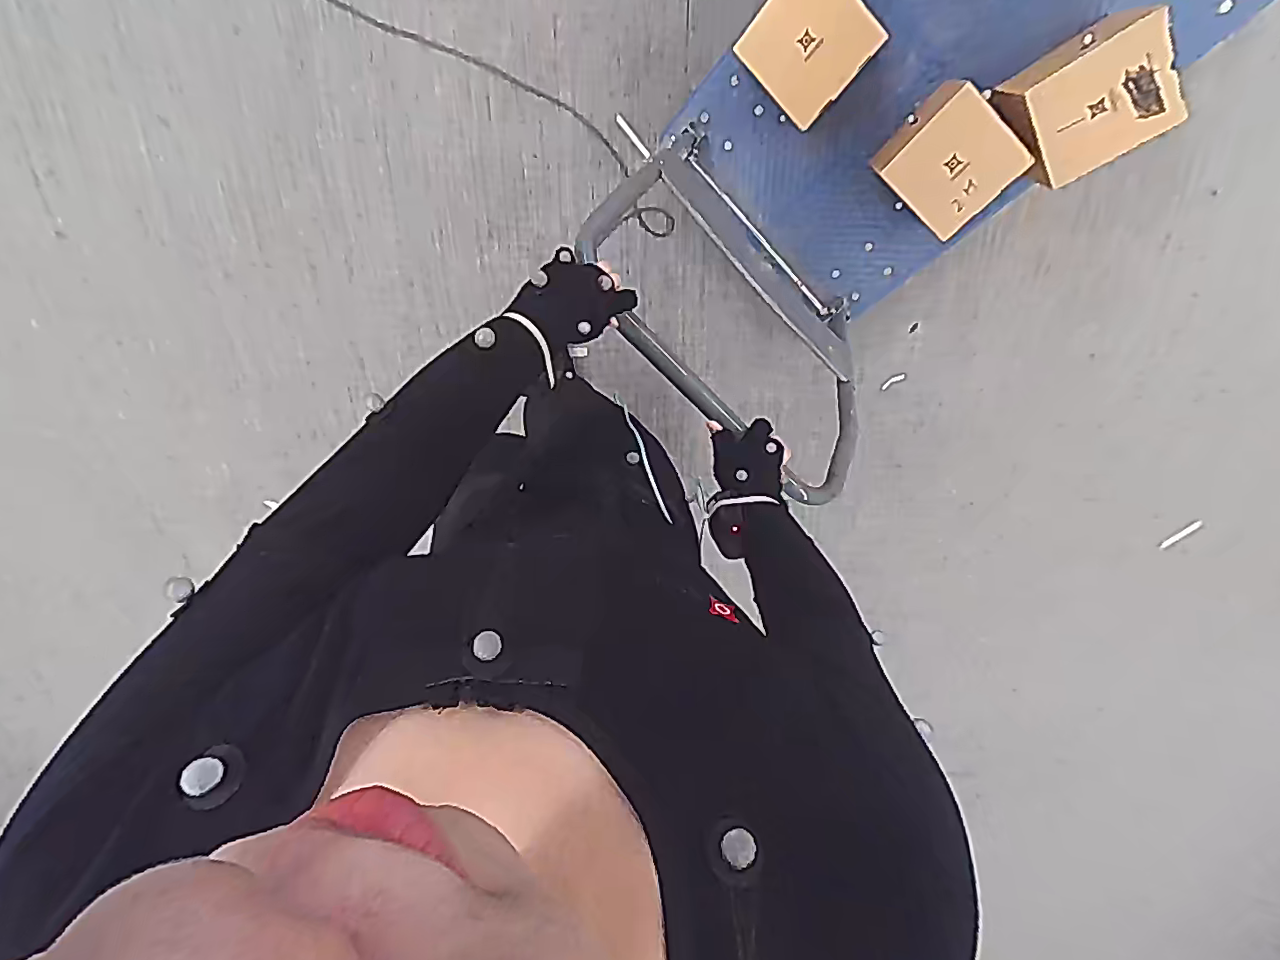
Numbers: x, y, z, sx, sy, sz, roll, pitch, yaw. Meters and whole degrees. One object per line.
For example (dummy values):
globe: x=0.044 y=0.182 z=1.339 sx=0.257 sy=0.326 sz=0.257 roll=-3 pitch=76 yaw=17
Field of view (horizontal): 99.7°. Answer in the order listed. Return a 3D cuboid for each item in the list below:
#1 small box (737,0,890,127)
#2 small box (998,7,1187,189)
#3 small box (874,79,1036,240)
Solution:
small box: x=0.282 y=-0.734 z=0.907 sx=0.179 sy=0.176 sz=0.168 roll=39 pitch=126 yaw=-16
small box: x=0.720 y=-0.612 z=0.875 sx=0.179 sy=0.176 sz=0.168 roll=-22 pitch=118 yaw=29
small box: x=0.542 y=-0.566 z=0.959 sx=0.179 sy=0.176 sz=0.168 roll=38 pitch=127 yaw=-14
